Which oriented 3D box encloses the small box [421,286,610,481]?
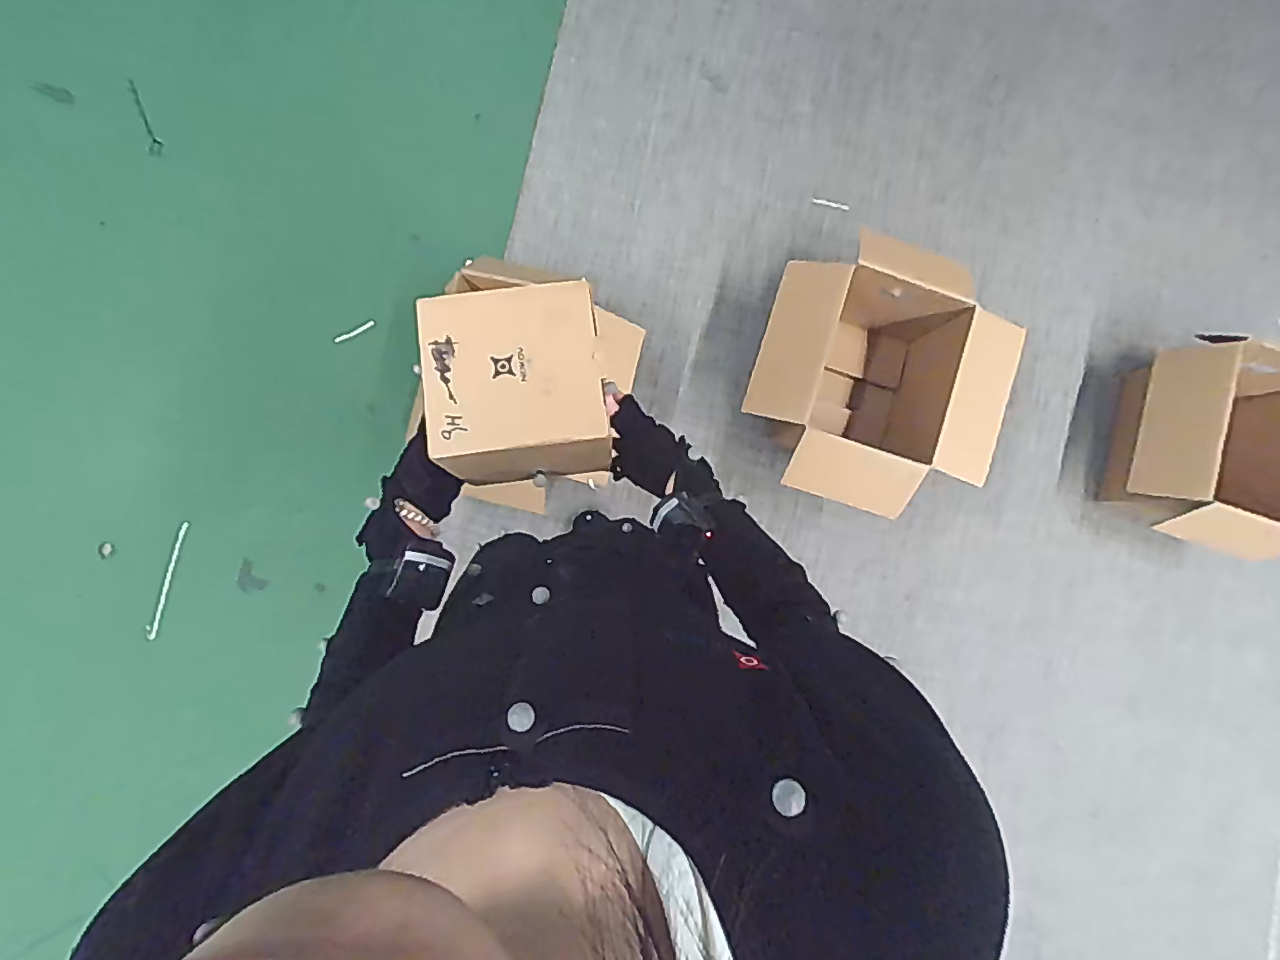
[{"bbox_3d":[-0.131,-0.099,0.613,0.179,0.176,0.168,-6,80,-5],"label":"small box"}]
